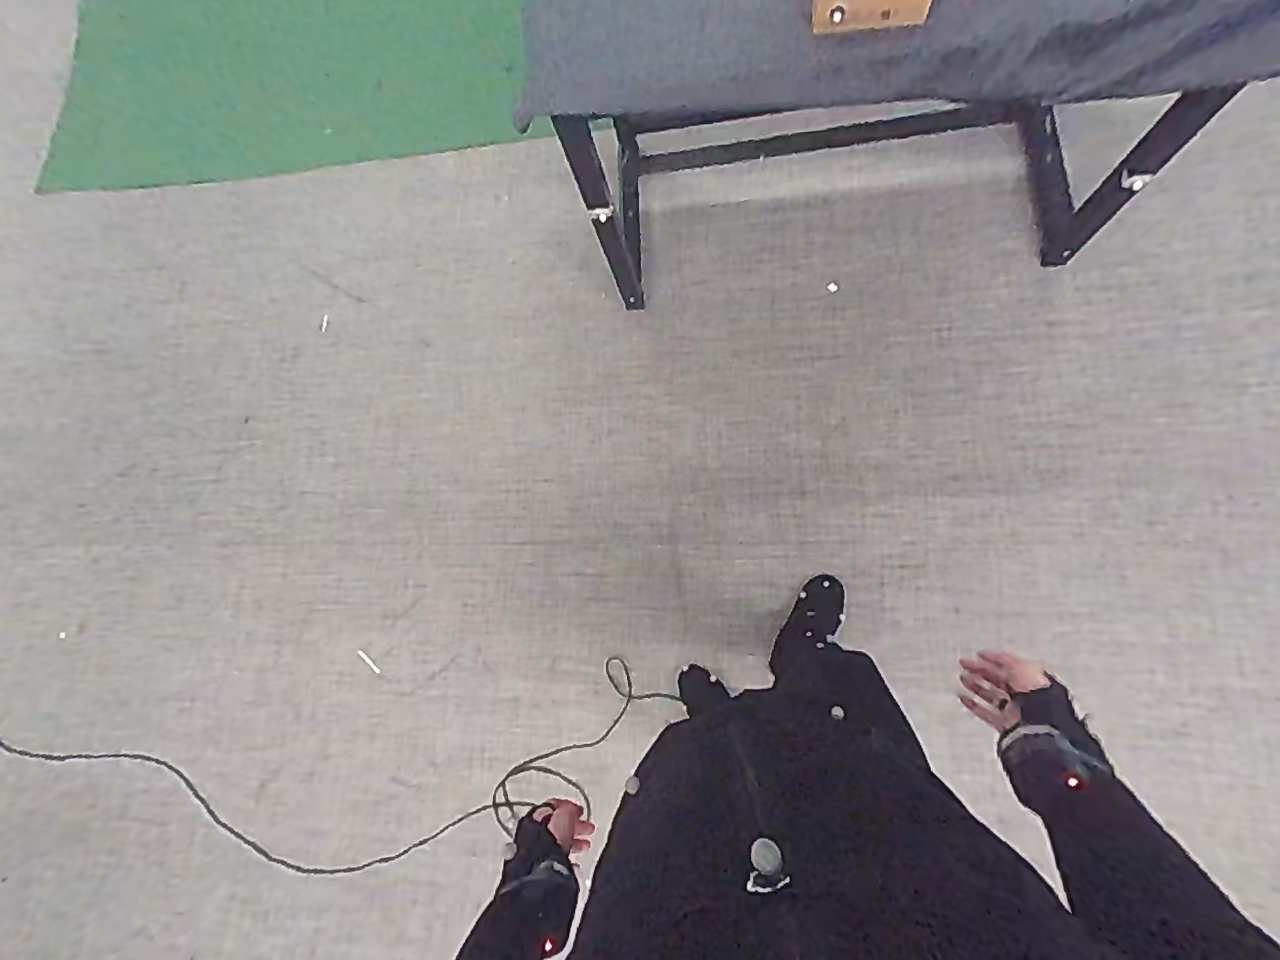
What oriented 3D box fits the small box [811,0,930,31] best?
[{"bbox_3d":[0.341,-0.783,0.768,0.168,0.176,0.179,3,77,10],"label":"small box"}]
